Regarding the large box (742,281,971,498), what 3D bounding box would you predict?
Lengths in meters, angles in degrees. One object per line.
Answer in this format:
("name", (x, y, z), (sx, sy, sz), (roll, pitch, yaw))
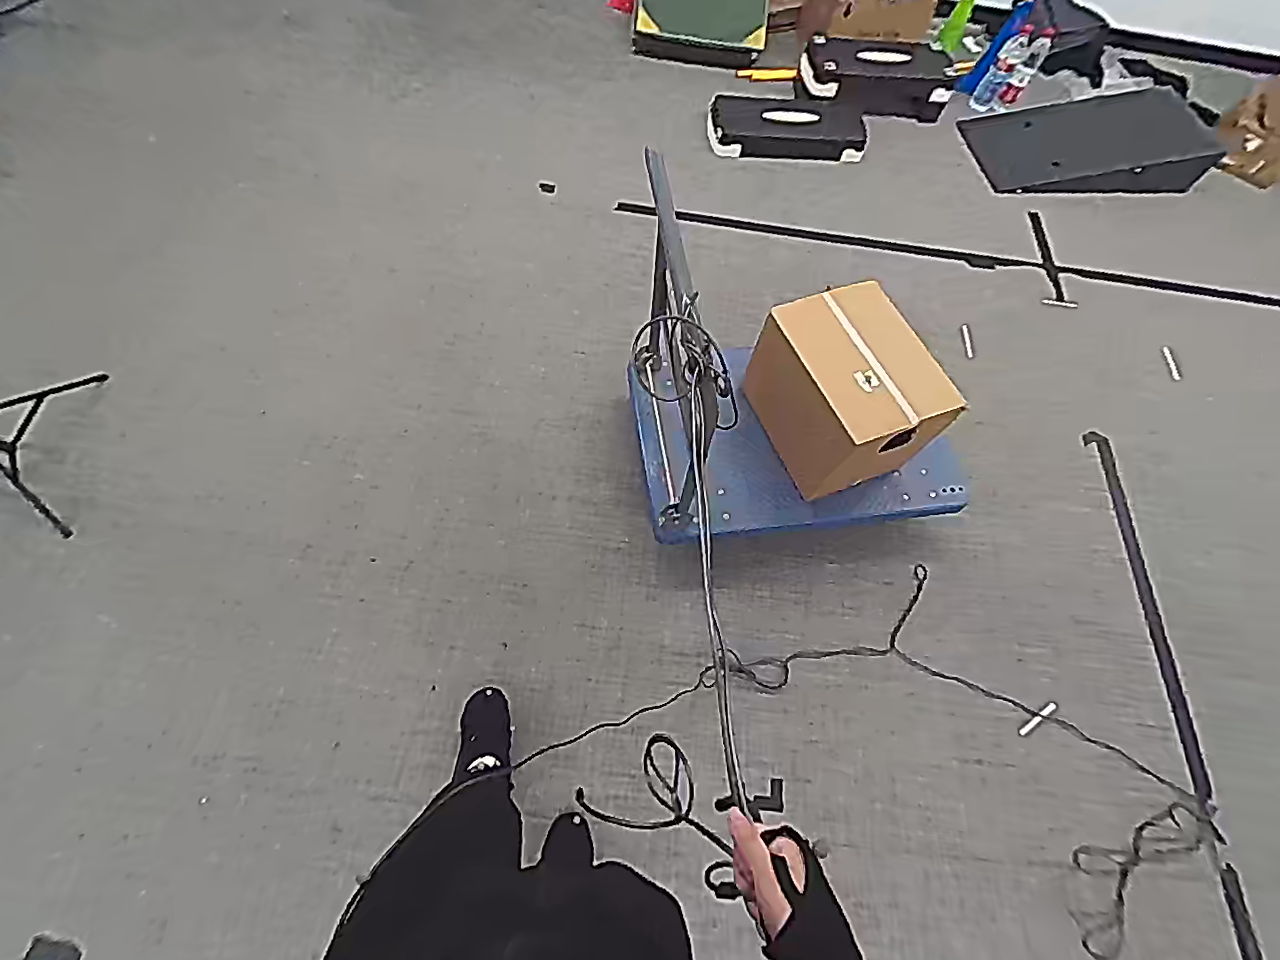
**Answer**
("large box", (0.515, -0.225, 1.382), (0.320, 0.320, 0.408), (-19, 69, -12))
